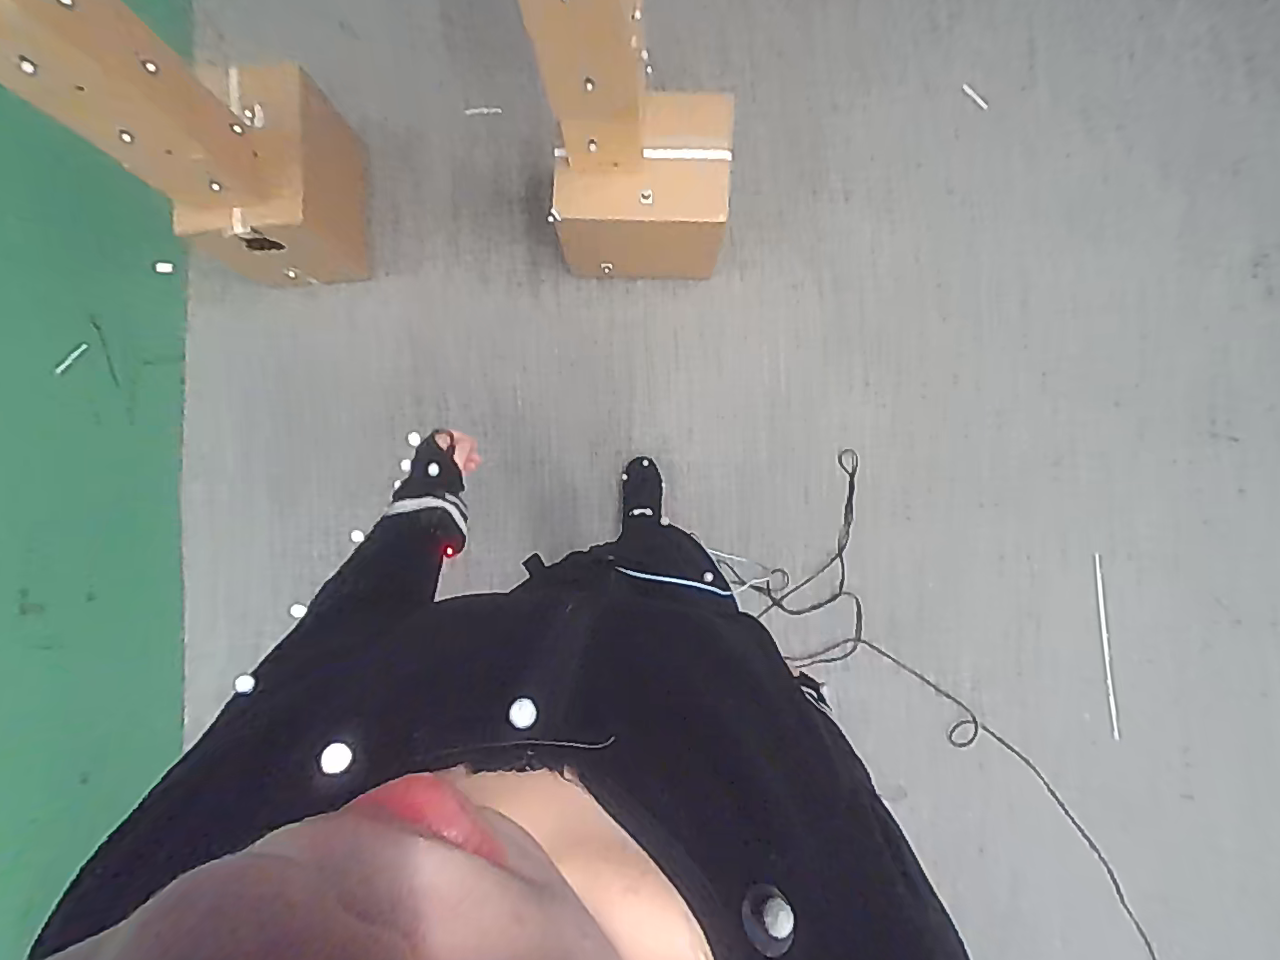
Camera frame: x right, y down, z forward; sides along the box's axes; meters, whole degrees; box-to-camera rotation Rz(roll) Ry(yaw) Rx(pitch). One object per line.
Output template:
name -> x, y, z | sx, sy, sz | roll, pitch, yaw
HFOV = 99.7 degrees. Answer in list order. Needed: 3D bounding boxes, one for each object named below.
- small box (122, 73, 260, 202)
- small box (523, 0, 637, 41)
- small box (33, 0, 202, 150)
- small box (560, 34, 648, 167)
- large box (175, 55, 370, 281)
small box -> -0.960, -0.732, 1.170 | 0.179, 0.176, 0.168 | -5, 86, 2
small box -> -0.088, -0.817, 0.823 | 0.179, 0.176, 0.168 | 7, 85, 4
small box -> -0.964, -0.748, 1.008 | 0.168, 0.176, 0.179 | -9, 85, 1
small box -> -0.070, -0.798, 1.151 | 0.168, 0.176, 0.179 | 3, 85, 1
large box -> -0.939, -0.789, 1.417 | 0.320, 0.320, 0.408 | -3, 86, 1
